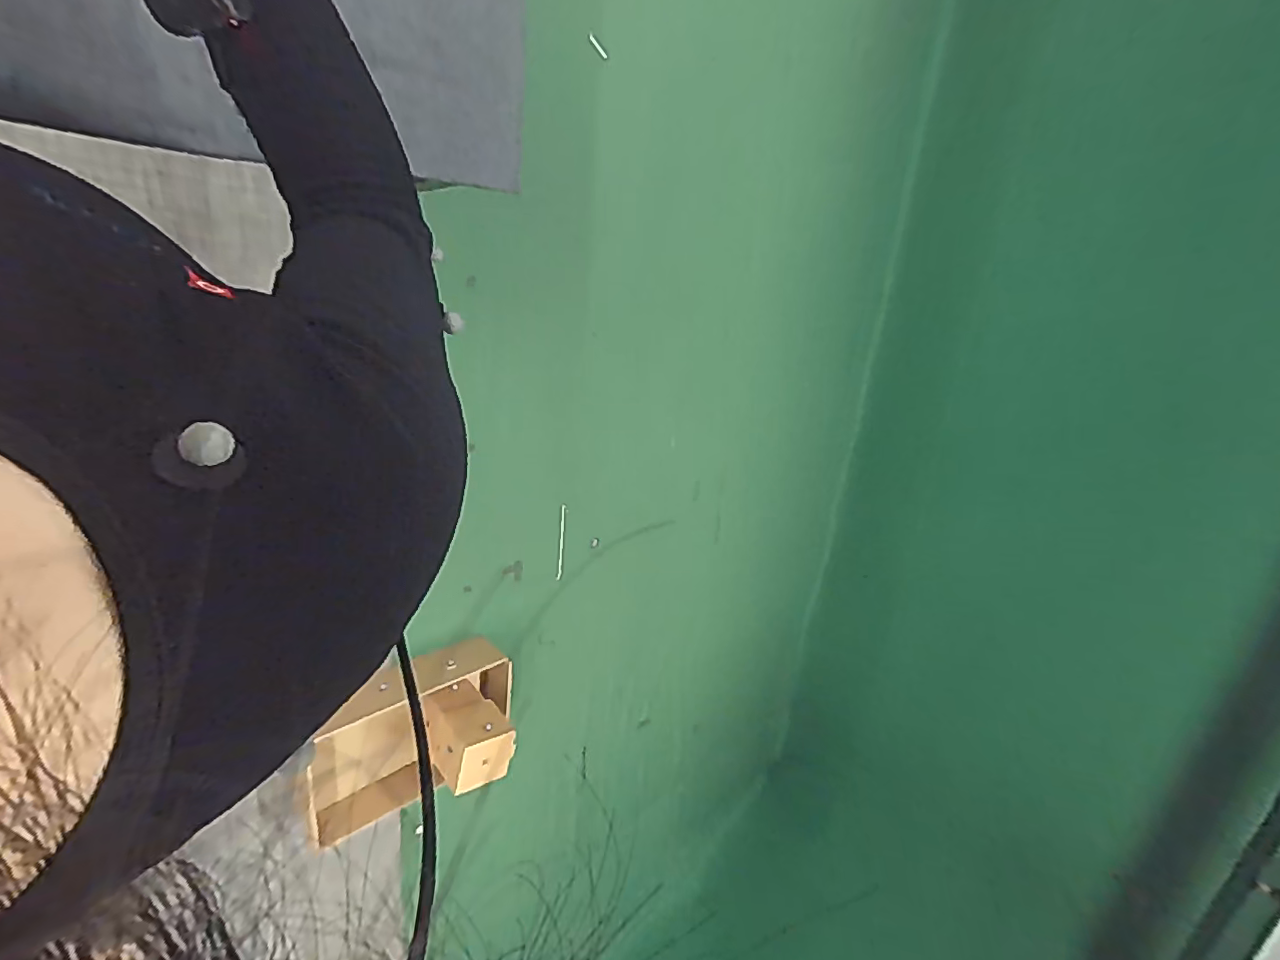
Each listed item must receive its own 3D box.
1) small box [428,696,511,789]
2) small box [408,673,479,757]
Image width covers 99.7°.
[{"bbox_3d":[-0.530,0.800,1.668,0.179,0.176,0.168,2,107,-47],"label":"small box"},{"bbox_3d":[-0.642,0.770,1.784,0.168,0.176,0.179,9,101,-48],"label":"small box"}]
